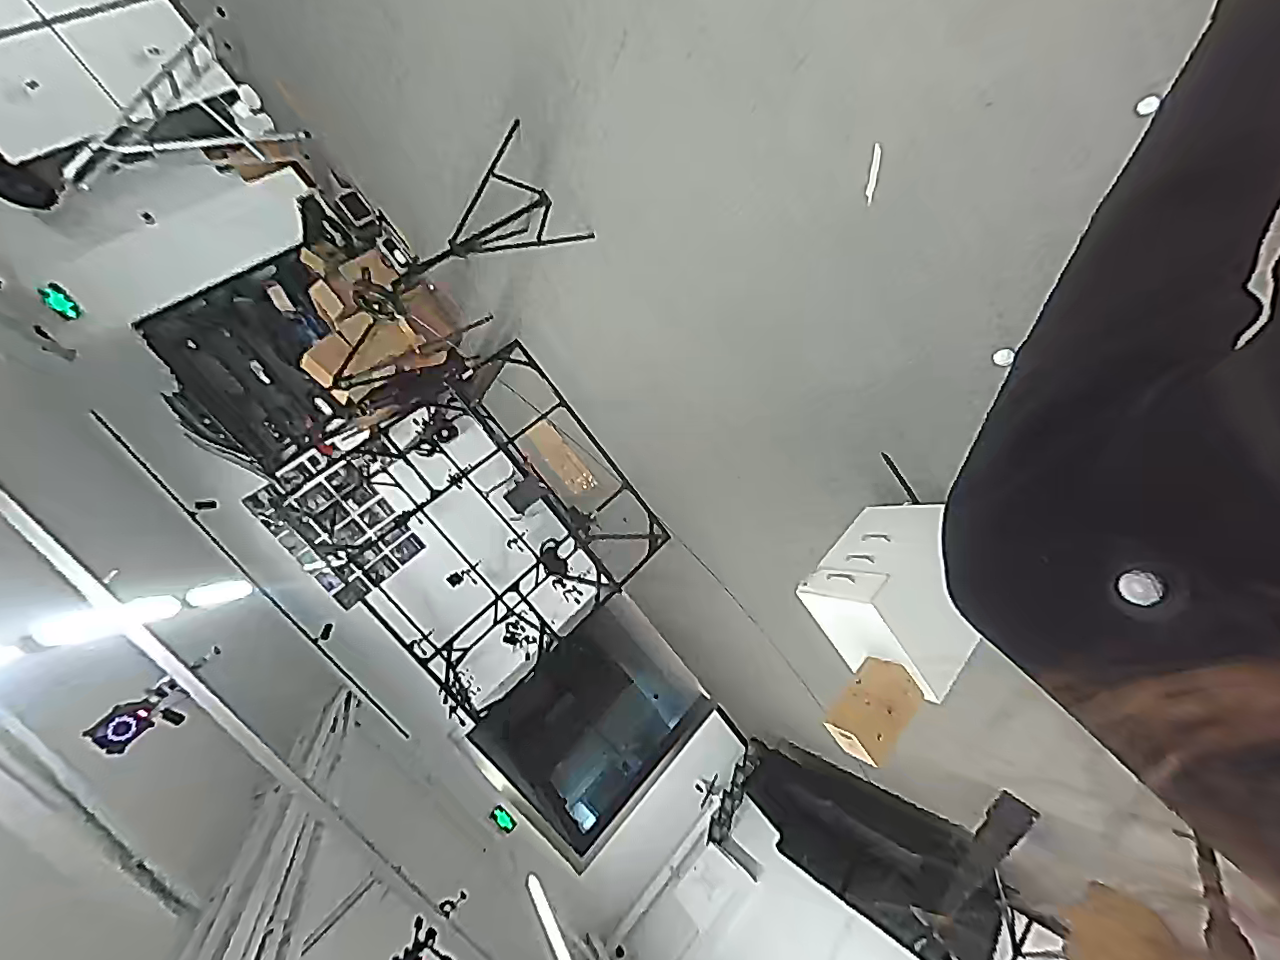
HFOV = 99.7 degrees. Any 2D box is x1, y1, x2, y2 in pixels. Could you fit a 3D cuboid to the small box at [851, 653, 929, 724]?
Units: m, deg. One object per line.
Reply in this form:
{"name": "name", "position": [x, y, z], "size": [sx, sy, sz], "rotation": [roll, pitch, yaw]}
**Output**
{"name": "small box", "position": [0.957, 0.789, 2.068], "size": [0.168, 0.176, 0.179], "rotation": [52, 159, -11]}

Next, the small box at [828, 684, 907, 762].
{"name": "small box", "position": [0.845, 0.893, 2.005], "size": [0.179, 0.176, 0.168], "rotation": [52, 159, -12]}
